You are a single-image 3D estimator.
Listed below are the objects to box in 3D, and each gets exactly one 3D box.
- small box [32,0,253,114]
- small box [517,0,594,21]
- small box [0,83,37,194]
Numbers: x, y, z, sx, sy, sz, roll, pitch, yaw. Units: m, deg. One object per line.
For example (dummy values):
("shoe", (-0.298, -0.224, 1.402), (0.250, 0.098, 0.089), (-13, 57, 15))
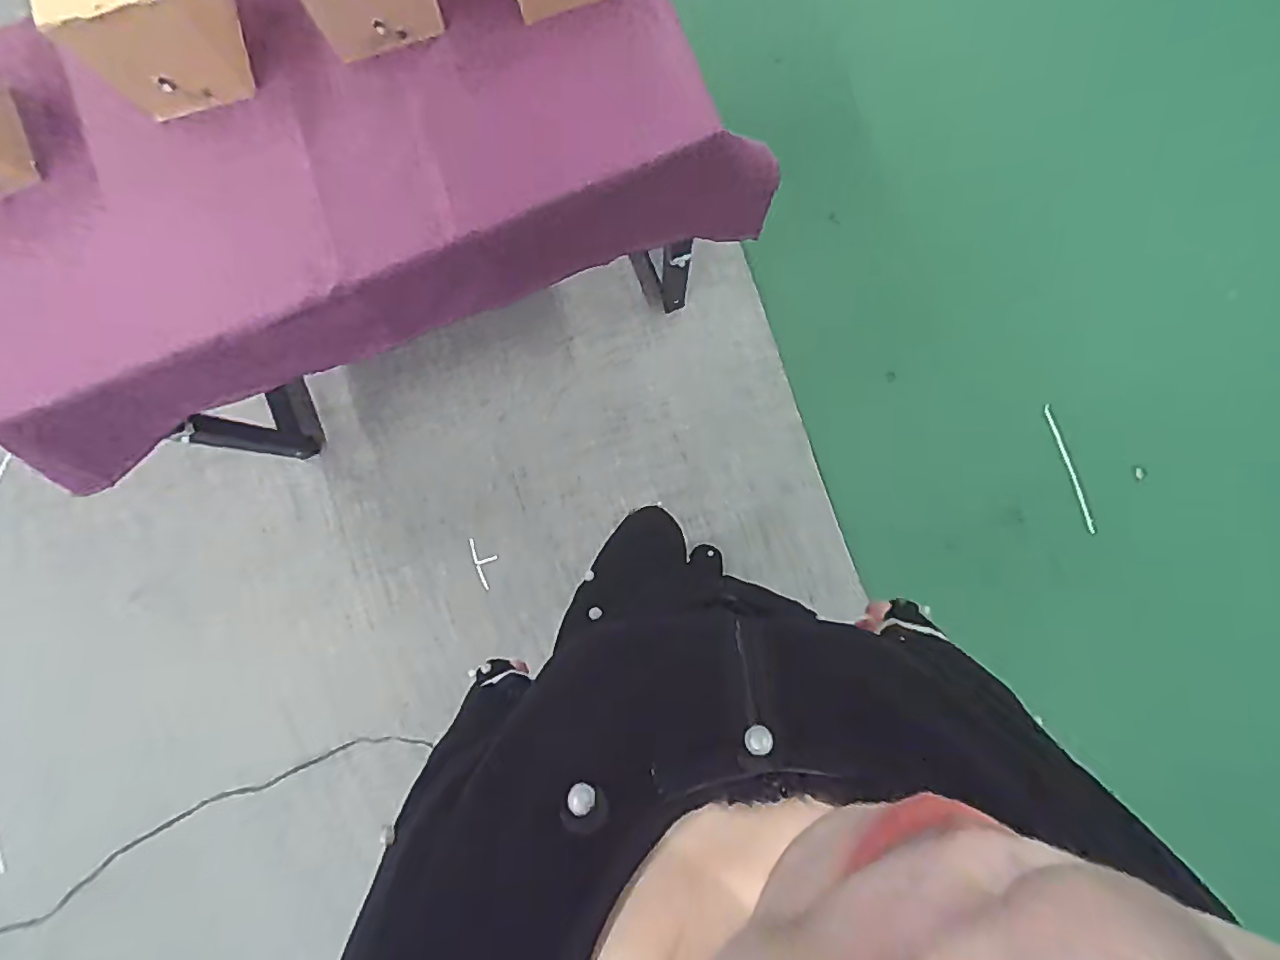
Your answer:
("small box", (-0.696, -0.671, 0.764), (0.168, 0.176, 0.179), (-14, 88, 1))
("small box", (-0.121, -0.809, 0.756), (0.179, 0.176, 0.168), (-19, 86, 2))
("small box", (-1.032, -0.521, 0.759), (0.168, 0.176, 0.179), (-21, 87, 0))
